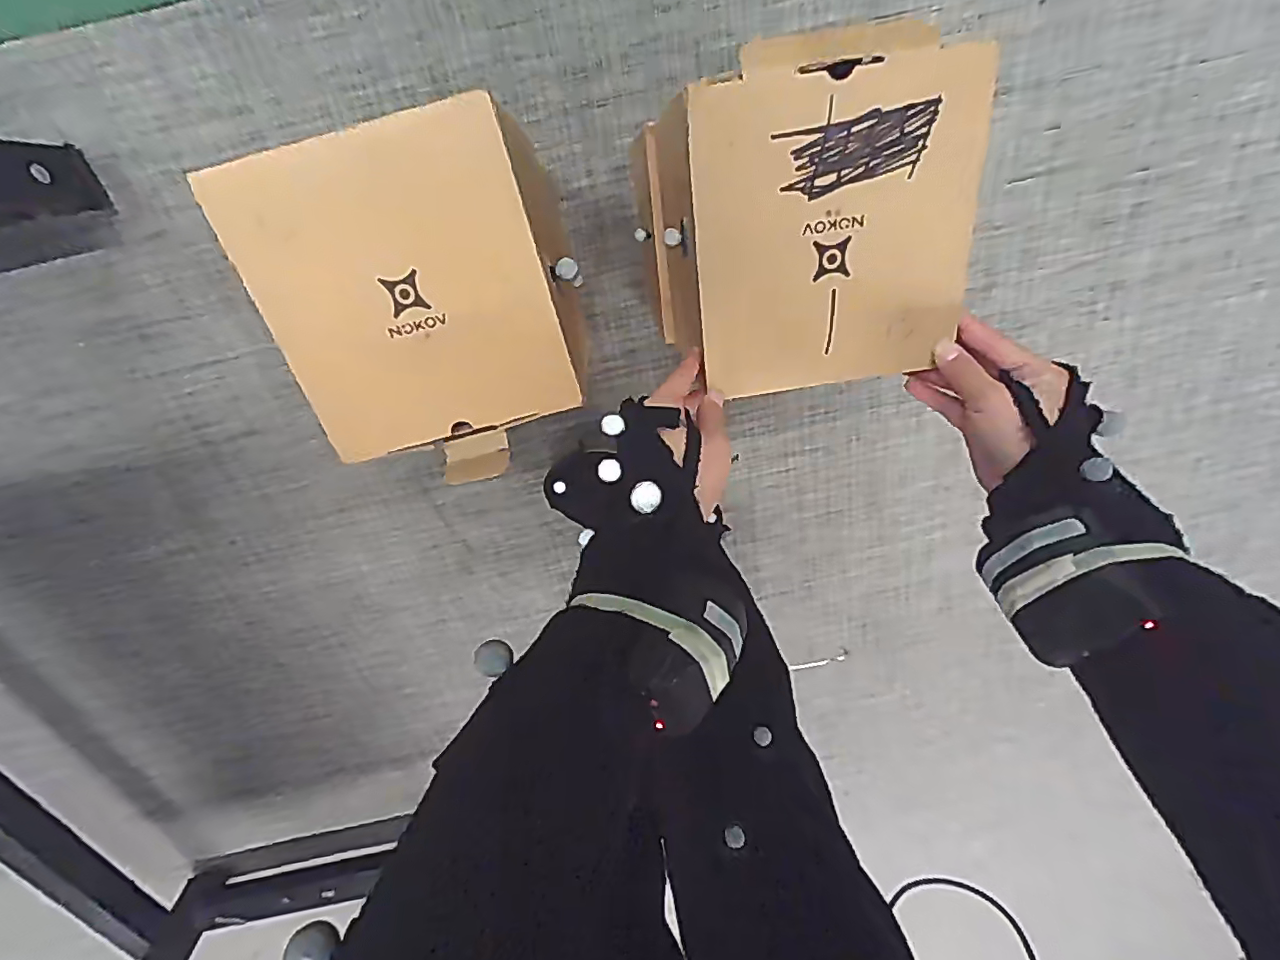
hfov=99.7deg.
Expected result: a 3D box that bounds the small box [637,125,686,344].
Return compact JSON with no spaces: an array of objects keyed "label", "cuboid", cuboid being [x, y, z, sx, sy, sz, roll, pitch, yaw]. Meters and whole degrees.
[{"label":"small box","cuboid":[0.091,-0.251,0.540,0.168,0.176,0.179,-8,118,0]}]

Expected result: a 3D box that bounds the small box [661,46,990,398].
[{"label":"small box","cuboid":[0.110,-0.177,0.394,0.168,0.176,0.179,-8,118,1]}]
